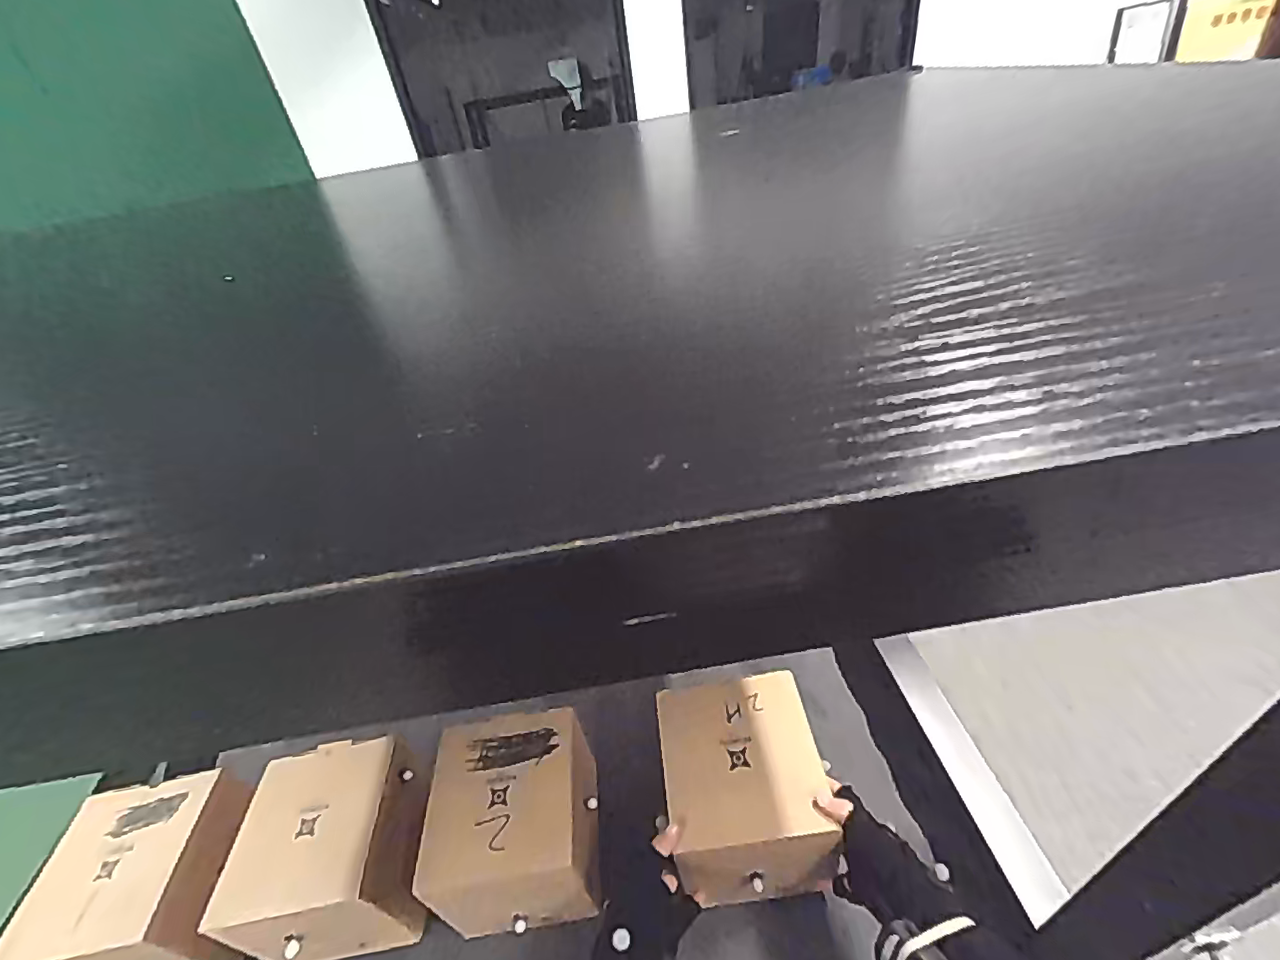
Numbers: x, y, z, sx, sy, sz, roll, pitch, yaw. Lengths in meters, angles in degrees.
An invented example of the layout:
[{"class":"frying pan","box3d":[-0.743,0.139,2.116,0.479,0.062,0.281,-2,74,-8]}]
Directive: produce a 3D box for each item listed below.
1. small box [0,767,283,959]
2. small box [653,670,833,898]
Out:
[{"class":"small box","box3d":[-0.577,0.488,0.656,0.168,0.176,0.179,-12,37,-1]},{"class":"small box","box3d":[0.114,0.353,0.625,0.168,0.176,0.179,-10,36,3]}]
